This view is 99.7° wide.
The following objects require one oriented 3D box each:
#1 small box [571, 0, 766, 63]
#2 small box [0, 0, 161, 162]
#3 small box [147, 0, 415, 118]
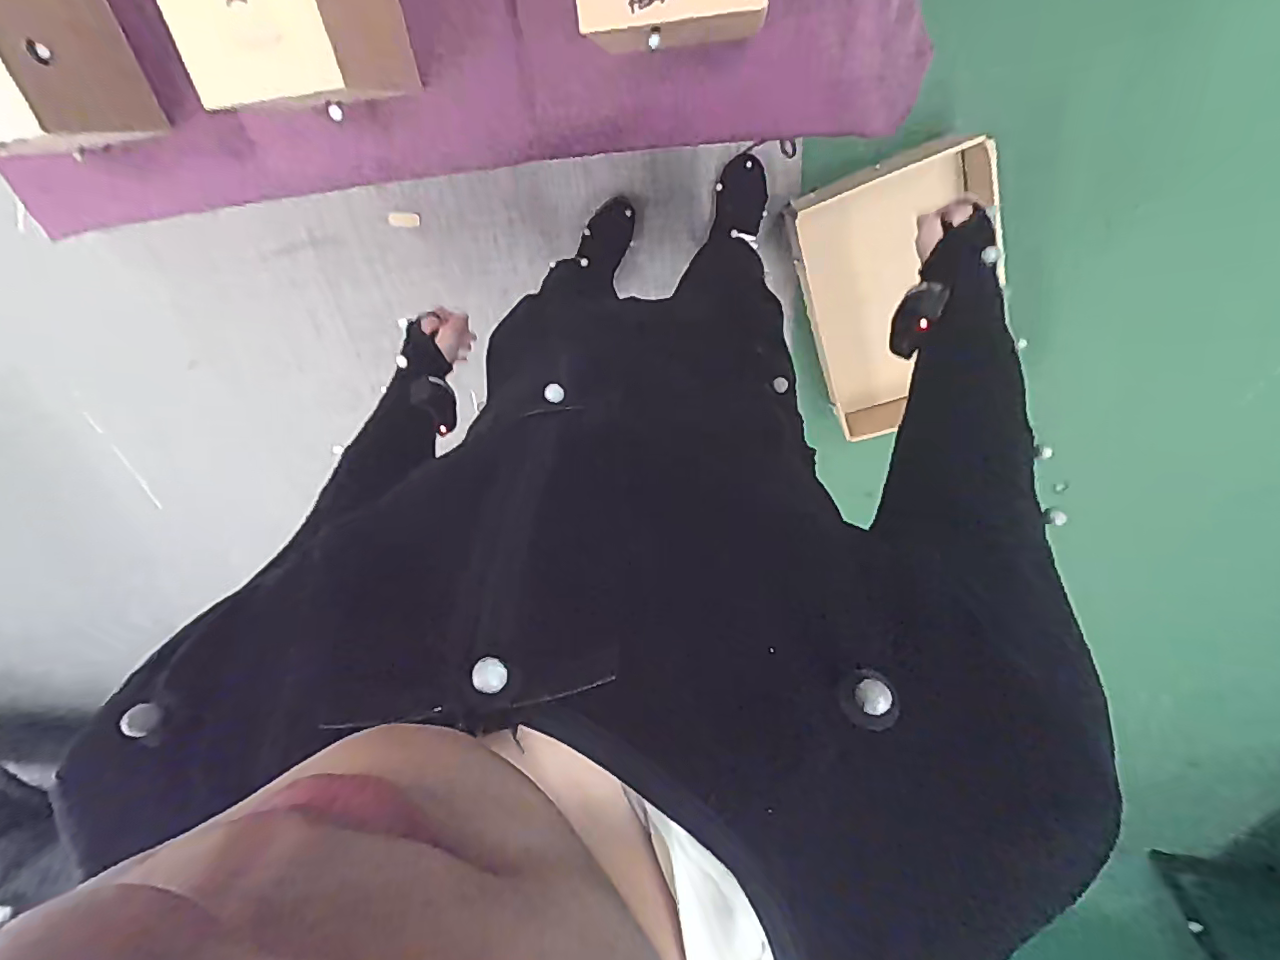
[{"bbox_3d":[0.027,-0.502,0.485,0.168,0.176,0.179,0,122,10],"label":"small box"},{"bbox_3d":[-0.723,-0.475,0.620,0.168,0.176,0.179,-3,122,10],"label":"small box"},{"bbox_3d":[-0.366,-0.487,0.558,0.168,0.176,0.179,0,124,10],"label":"small box"}]
